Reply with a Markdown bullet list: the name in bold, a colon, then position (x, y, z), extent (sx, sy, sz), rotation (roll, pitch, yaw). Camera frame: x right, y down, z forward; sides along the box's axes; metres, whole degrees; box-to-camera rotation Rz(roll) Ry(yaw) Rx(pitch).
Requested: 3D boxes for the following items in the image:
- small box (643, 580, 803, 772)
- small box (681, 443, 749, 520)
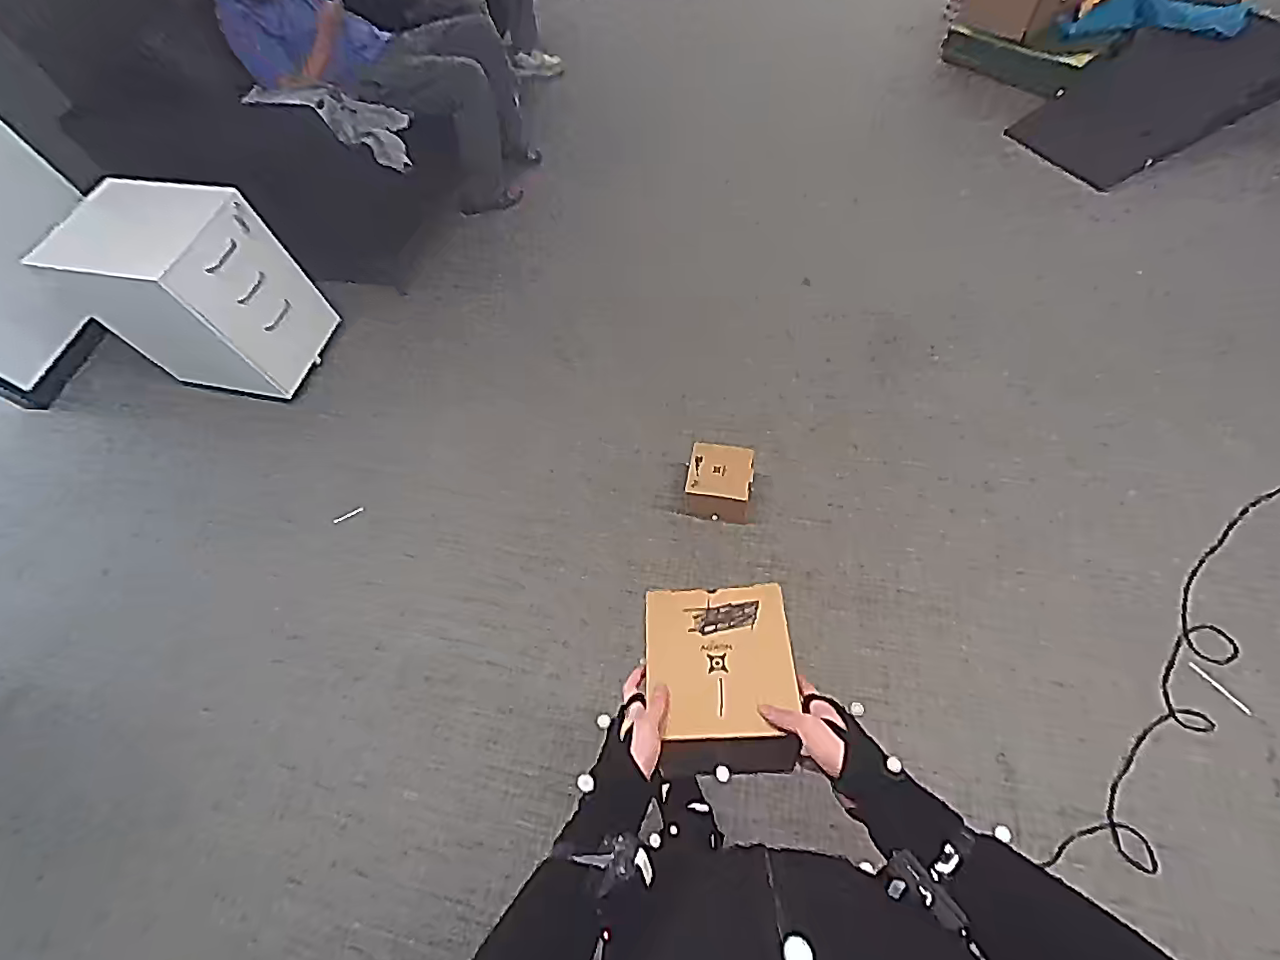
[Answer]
- **small box**: position (0.100, 0.241, 0.667), extent (0.168, 0.176, 0.179), rotation (-2, 50, 8)
- **small box**: position (0.220, 0.010, 1.604), extent (0.179, 0.176, 0.168), rotation (7, 65, 9)
